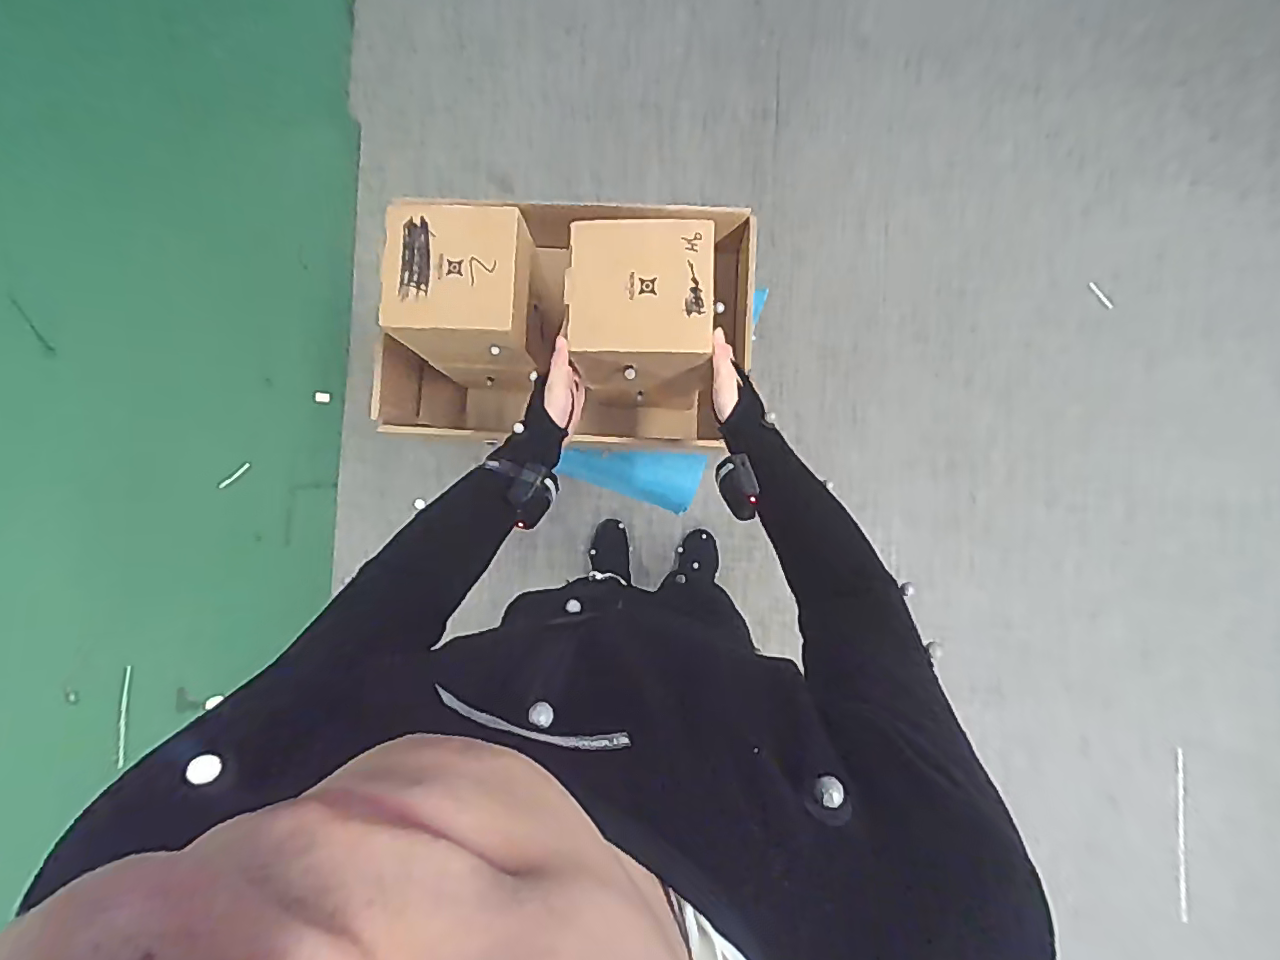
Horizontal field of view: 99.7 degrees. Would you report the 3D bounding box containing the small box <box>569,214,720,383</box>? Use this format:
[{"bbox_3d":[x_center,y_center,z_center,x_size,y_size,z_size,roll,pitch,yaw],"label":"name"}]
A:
[{"bbox_3d":[0.012,-0.229,0.718,0.179,0.176,0.168,2,86,5],"label":"small box"}]
